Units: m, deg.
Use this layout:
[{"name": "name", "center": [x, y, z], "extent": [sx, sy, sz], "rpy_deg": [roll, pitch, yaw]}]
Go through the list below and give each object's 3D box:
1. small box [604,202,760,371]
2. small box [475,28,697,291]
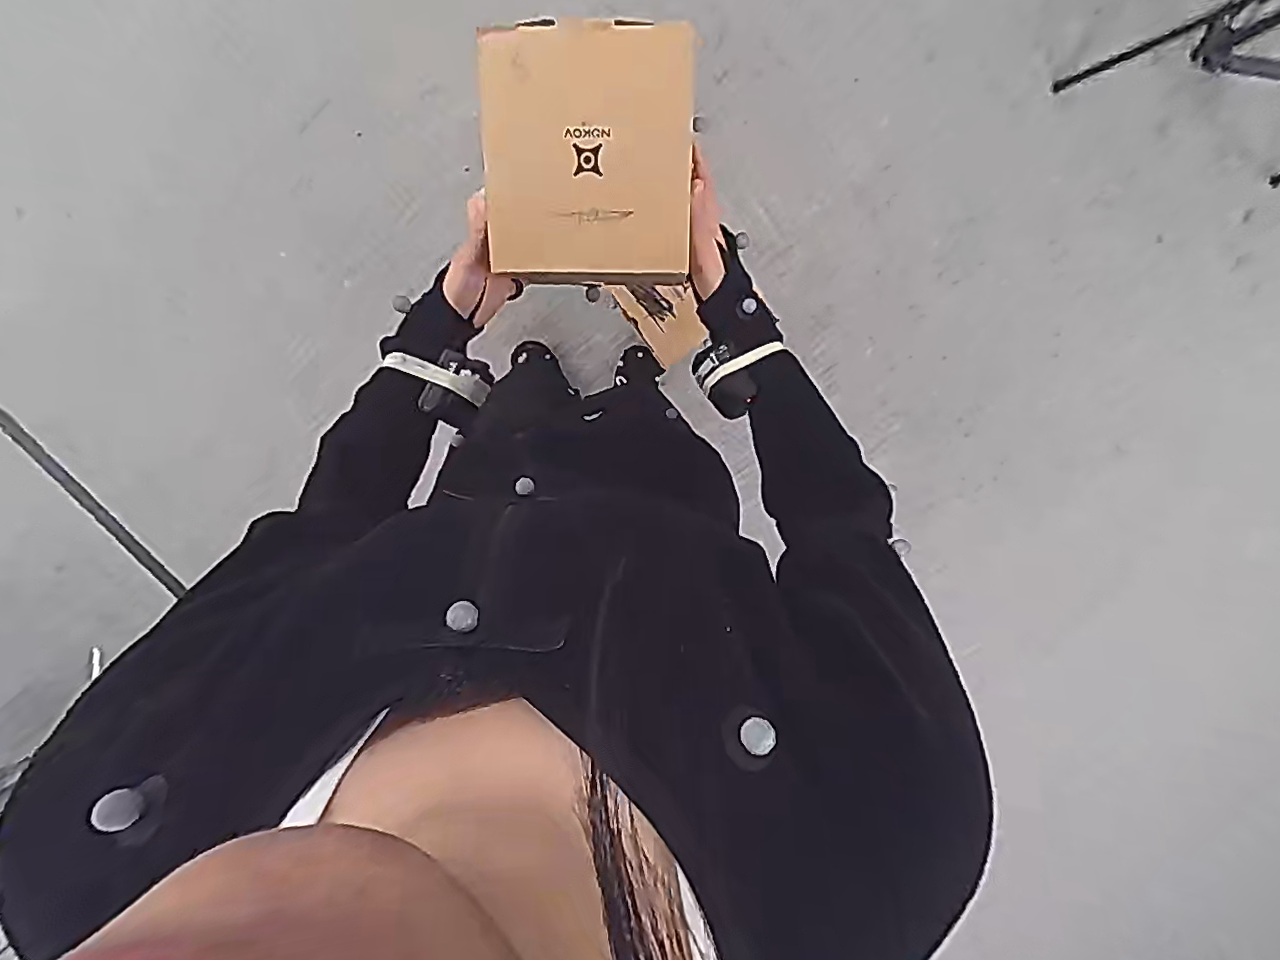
[{"name": "small box", "center": [0.059, -0.286, 0.840], "extent": [0.179, 0.176, 0.168], "rpy_deg": [-35, 100, 8]}, {"name": "small box", "center": [-0.039, -0.269, 0.494], "extent": [0.168, 0.176, 0.179], "rpy_deg": [0, 108, 1]}]
